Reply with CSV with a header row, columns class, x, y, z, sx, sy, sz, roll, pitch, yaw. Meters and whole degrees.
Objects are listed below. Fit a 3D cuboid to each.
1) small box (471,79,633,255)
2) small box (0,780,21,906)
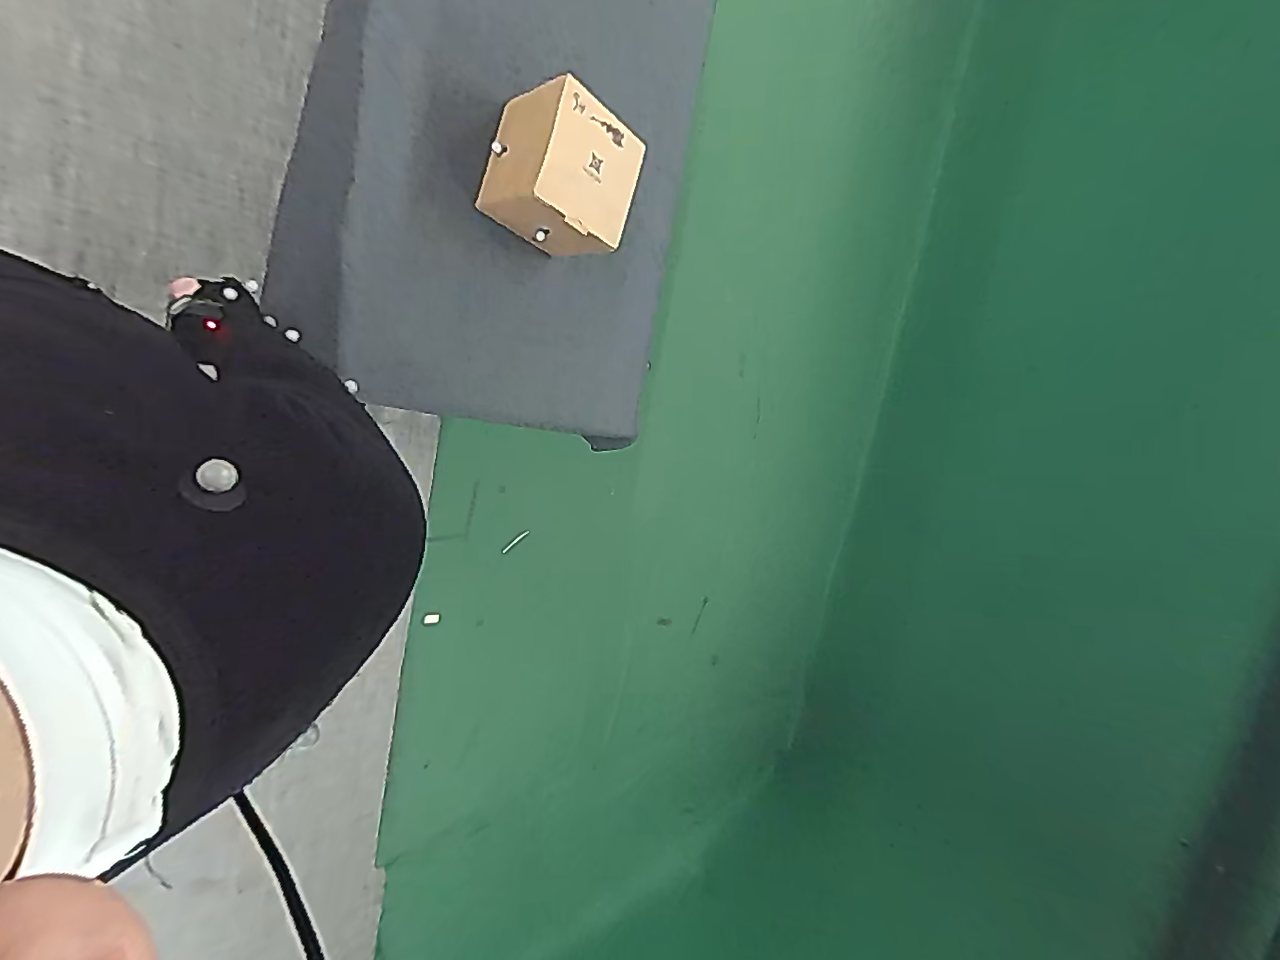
class,x,y,z,sx,sy,sz,roll,pitch,yaw
small box,-0.145,-0.476,0.859,0.168,0.176,0.179,16,92,-47
small box,-1.363,0.744,1.072,0.168,0.176,0.179,6,99,-49
